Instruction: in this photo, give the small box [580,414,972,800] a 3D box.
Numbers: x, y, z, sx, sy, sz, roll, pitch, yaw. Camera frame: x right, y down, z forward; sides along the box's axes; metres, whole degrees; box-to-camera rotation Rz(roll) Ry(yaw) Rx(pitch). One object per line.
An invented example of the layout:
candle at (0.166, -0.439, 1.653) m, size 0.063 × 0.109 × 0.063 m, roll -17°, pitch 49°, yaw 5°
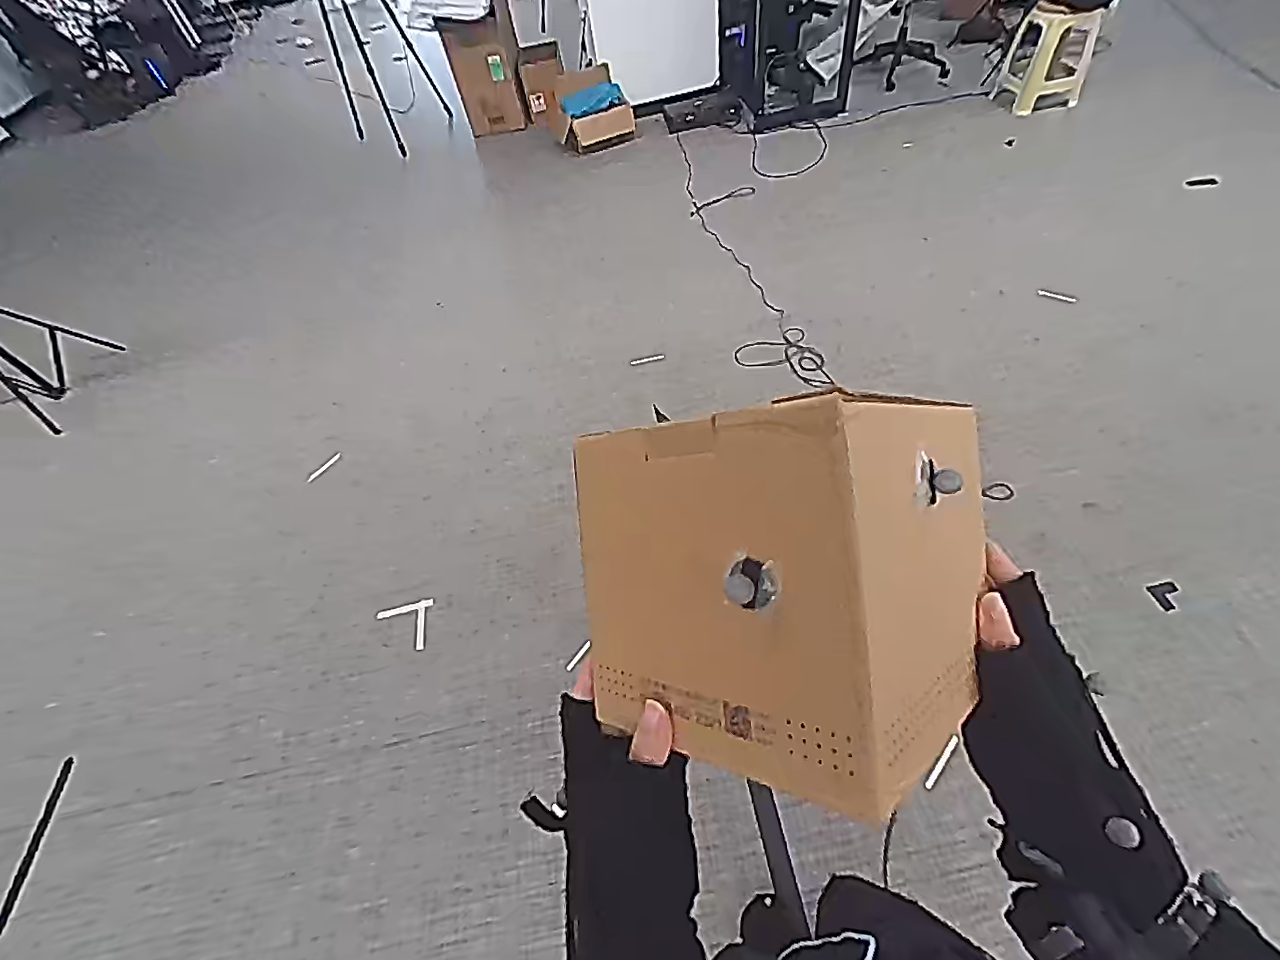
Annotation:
small box at (0.087, 0.058, 0.333) m, size 0.168 × 0.179 × 0.176 m, roll -5°, pitch 89°, yaw 46°
